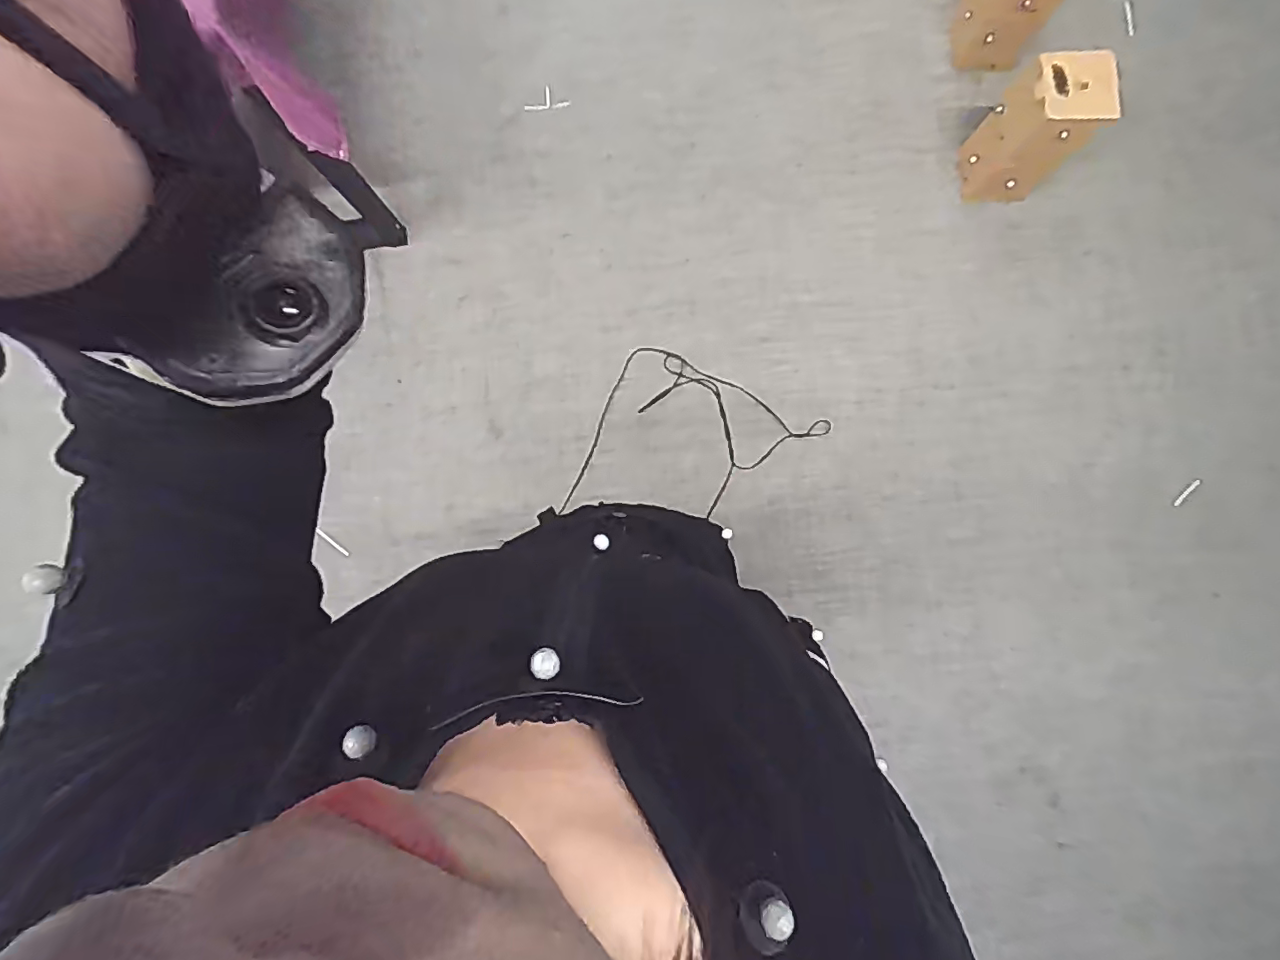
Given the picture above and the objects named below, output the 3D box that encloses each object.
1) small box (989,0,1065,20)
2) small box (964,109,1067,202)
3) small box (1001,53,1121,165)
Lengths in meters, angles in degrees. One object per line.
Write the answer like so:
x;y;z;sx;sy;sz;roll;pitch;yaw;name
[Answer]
1.003;-1.306;1.350;0.168;0.176;0.179;-1;87;0;small box
1.023;-0.891;1.491;0.179;0.176;0.168;-2;87;1;small box
1.017;-0.902;1.326;0.179;0.176;0.168;-1;87;-1;small box
